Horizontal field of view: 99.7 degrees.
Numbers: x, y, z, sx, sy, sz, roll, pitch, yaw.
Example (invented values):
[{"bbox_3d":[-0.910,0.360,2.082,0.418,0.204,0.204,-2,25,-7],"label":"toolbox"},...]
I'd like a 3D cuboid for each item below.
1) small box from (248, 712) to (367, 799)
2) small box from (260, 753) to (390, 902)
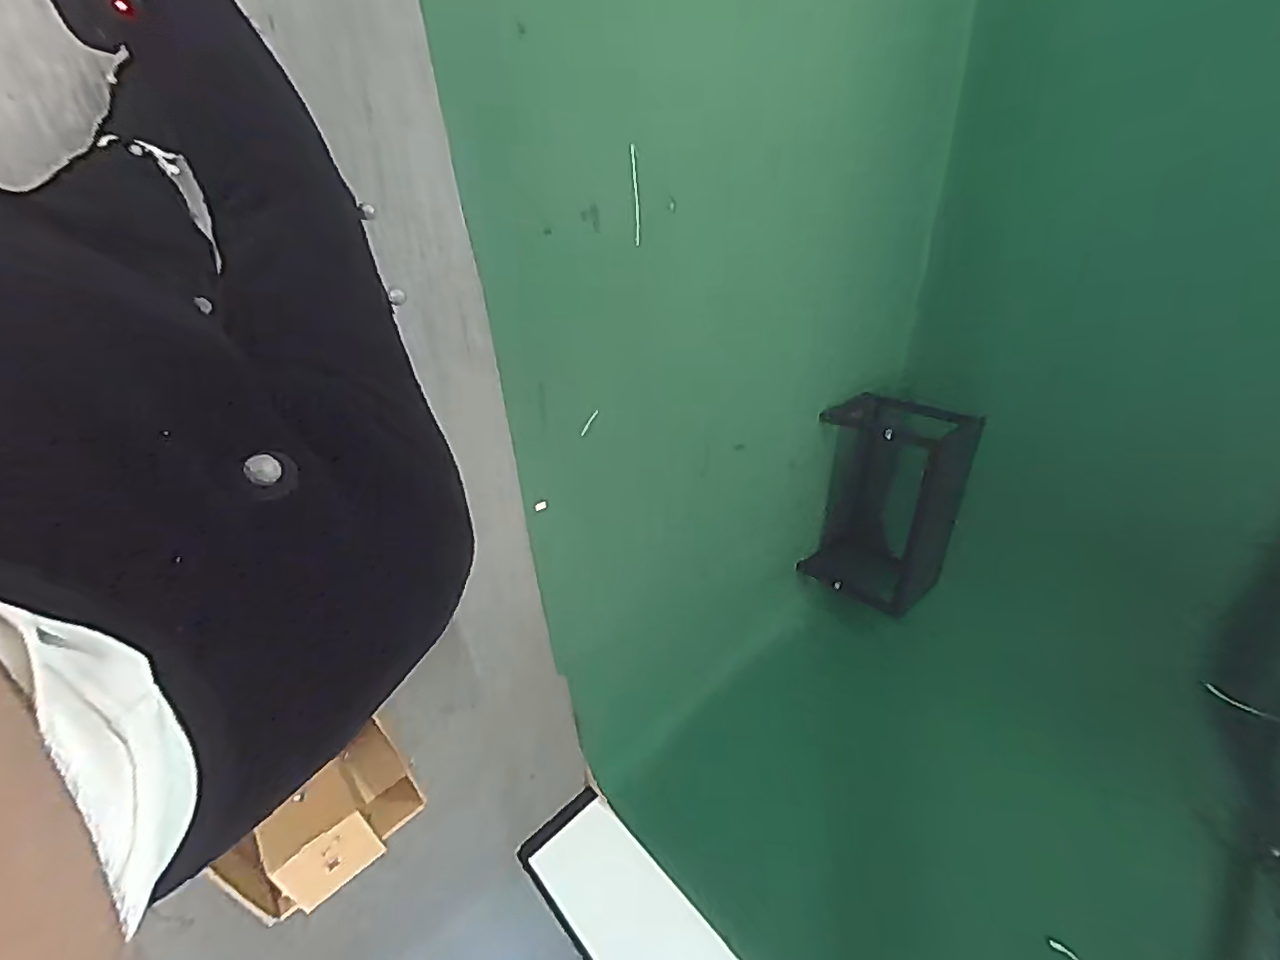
[{"bbox_3d":[-0.773,0.674,1.256,0.168,0.176,0.179,-29,130,-32],"label":"small box"},{"bbox_3d":[-0.663,0.723,1.142,0.168,0.176,0.179,-31,130,-32],"label":"small box"}]
